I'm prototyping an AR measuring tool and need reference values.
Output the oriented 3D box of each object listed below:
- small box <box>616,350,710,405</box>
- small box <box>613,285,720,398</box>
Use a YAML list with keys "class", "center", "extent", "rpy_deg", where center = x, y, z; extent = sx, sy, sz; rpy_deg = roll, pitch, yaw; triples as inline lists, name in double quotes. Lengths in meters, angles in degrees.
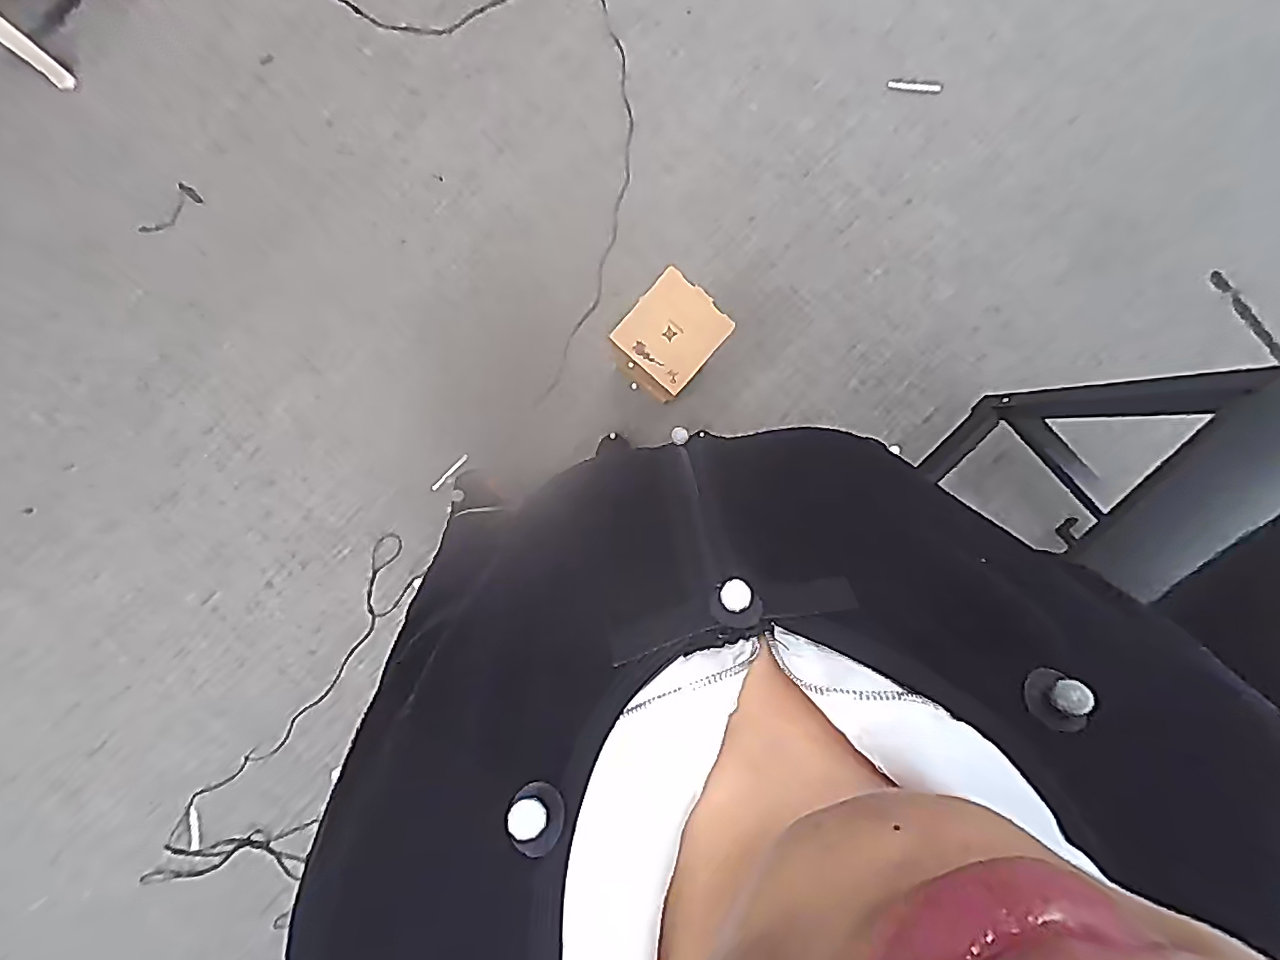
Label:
- class: "small box"
  center: [0.055, -0.312, 1.398]
  extent: [0.168, 0.176, 0.179]
  rpy_deg: [42, 94, -3]
- class: "small box"
  center: [0.058, -0.306, 1.237]
  extent: [0.168, 0.176, 0.179]
  rpy_deg: [38, 92, -4]
